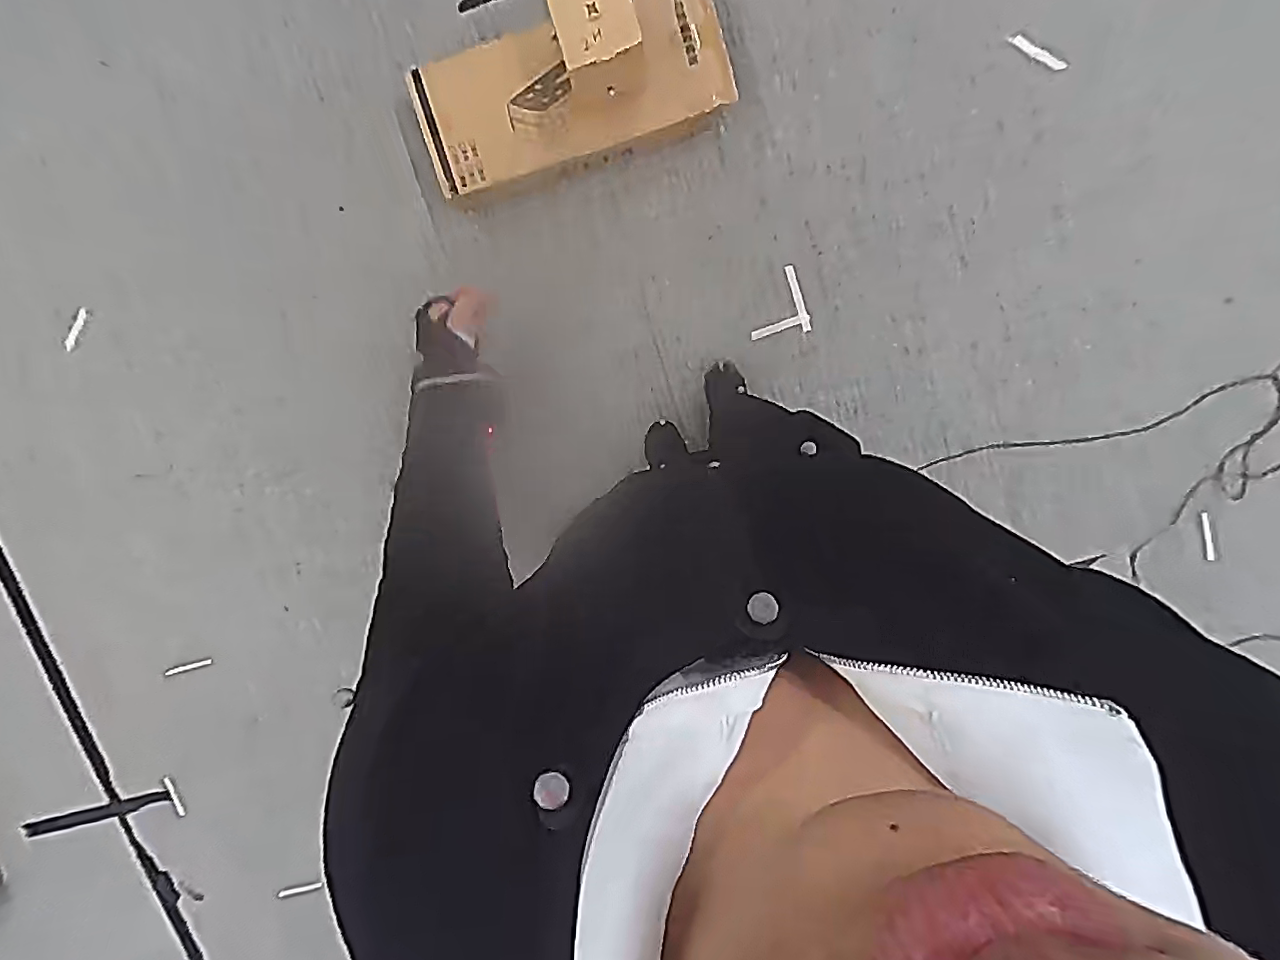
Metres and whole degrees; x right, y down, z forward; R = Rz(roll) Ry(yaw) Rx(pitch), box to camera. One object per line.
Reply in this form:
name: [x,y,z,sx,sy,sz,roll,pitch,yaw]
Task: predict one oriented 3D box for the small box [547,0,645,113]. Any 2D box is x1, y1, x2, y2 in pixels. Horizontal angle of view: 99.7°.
small box: [-0.092,-0.953,1.175,0.168,0.176,0.179,-17,97,5]
